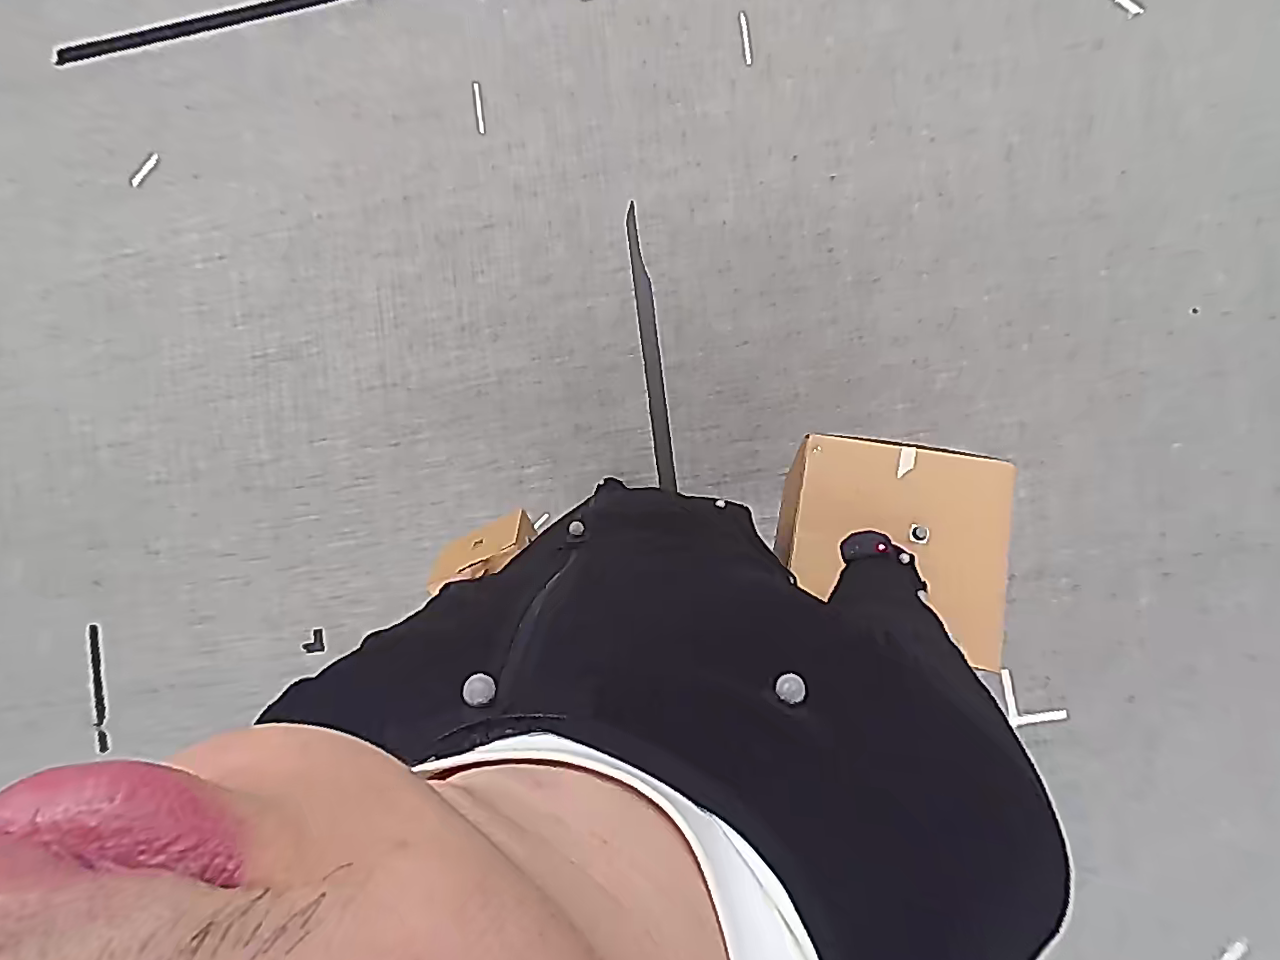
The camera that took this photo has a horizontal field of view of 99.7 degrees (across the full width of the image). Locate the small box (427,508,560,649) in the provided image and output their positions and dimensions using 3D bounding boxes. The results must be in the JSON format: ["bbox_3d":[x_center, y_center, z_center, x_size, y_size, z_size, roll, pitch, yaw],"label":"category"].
[{"bbox_3d":[-0.257,0.184,0.991,0.168,0.179,0.176,-25,110,1],"label":"small box"}]
